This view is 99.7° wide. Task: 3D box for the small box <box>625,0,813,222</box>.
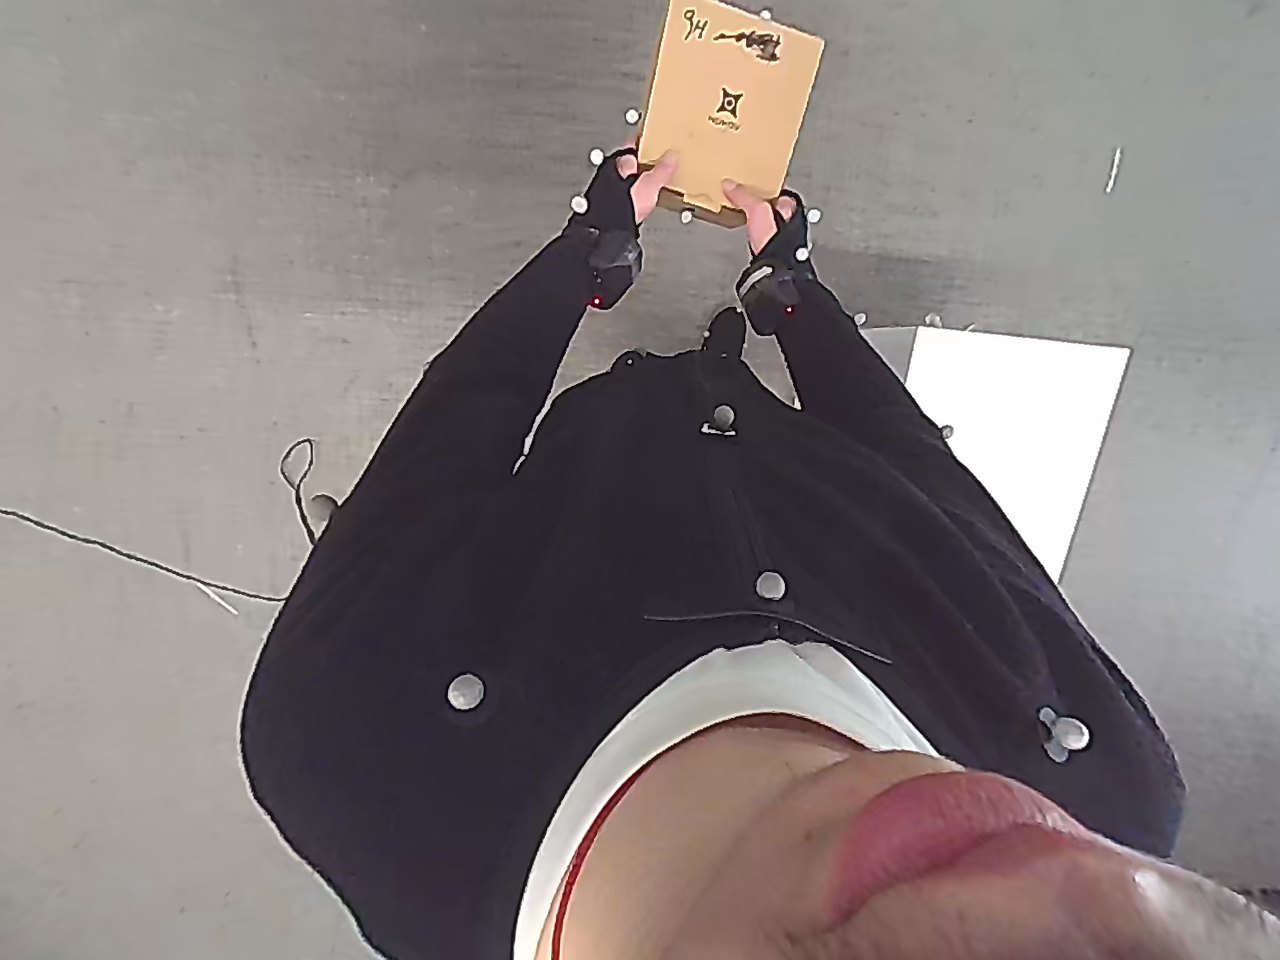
[{"bbox_3d":[0.078,-0.423,0.651,0.168,0.176,0.179,10,110,-9],"label":"small box"}]
